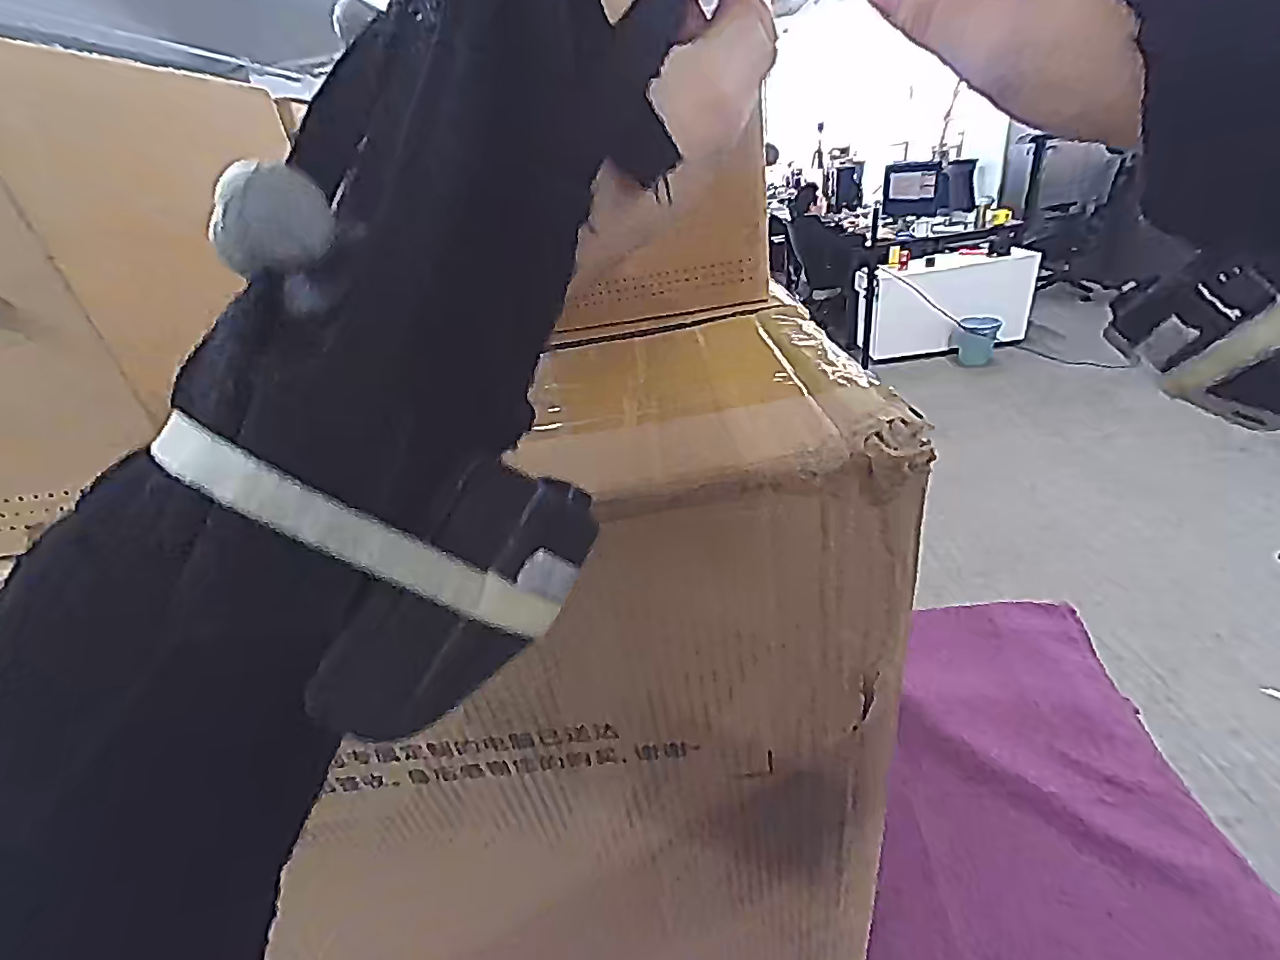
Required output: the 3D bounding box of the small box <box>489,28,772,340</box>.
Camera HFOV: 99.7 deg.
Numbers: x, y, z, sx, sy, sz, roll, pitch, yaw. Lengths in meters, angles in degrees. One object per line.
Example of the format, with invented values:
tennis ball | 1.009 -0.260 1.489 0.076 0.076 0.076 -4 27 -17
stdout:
small box | 0.010 -0.224 0.433 0.179 0.176 0.168 -6 30 10
